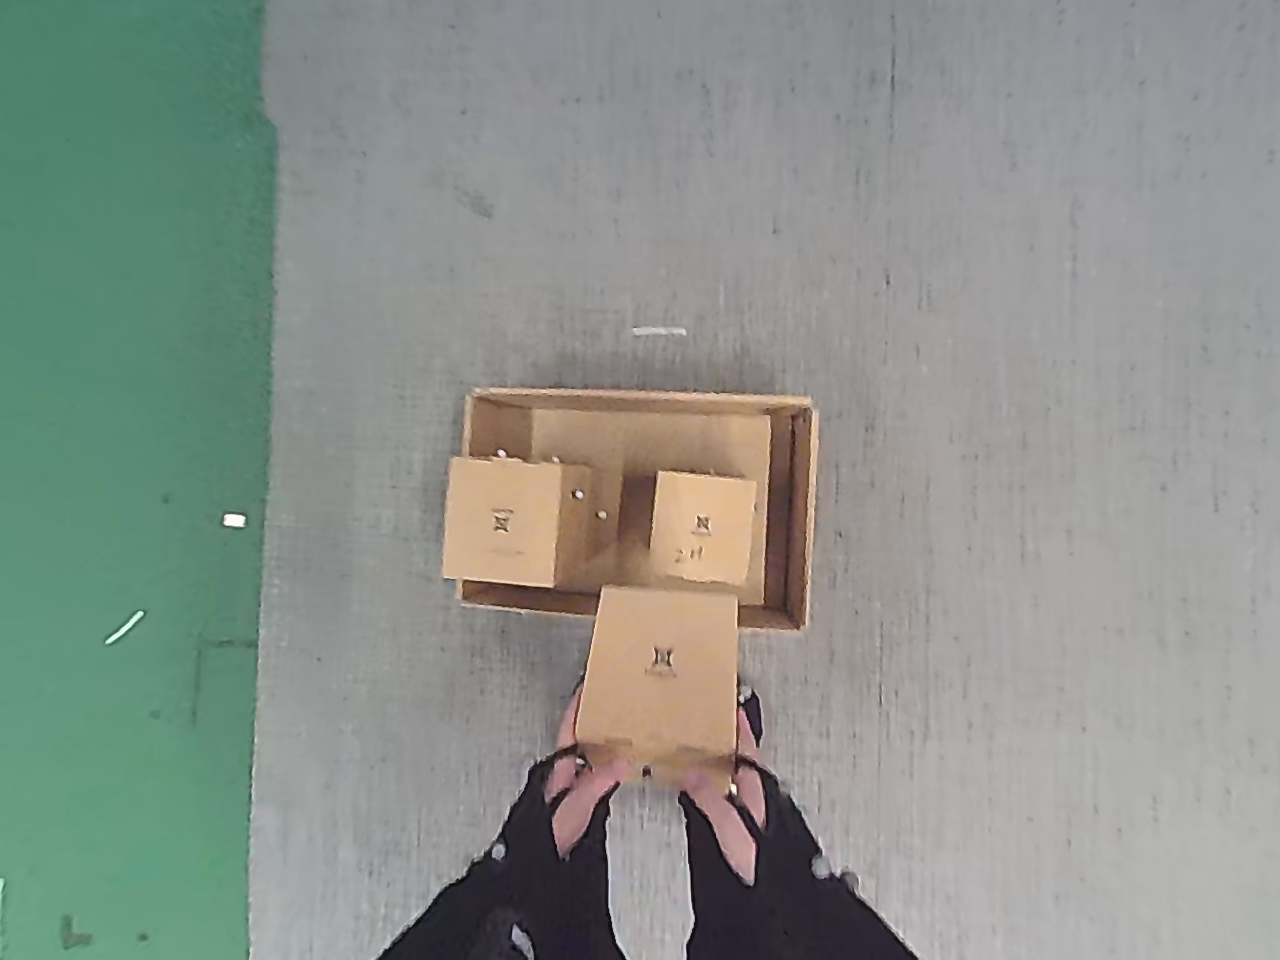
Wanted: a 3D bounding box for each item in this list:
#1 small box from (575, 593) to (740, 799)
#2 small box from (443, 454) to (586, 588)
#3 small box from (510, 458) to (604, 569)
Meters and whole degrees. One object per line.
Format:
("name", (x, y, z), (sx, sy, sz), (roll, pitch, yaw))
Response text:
("small box", (0.029, 0.257, 0.644), (0.168, 0.176, 0.179), (2, 50, 7))
("small box", (-0.182, 0.058, 0.837), (0.168, 0.176, 0.179), (5, 90, 6))
("small box", (-0.164, 0.059, 0.998), (0.168, 0.176, 0.179), (5, 89, 7))
